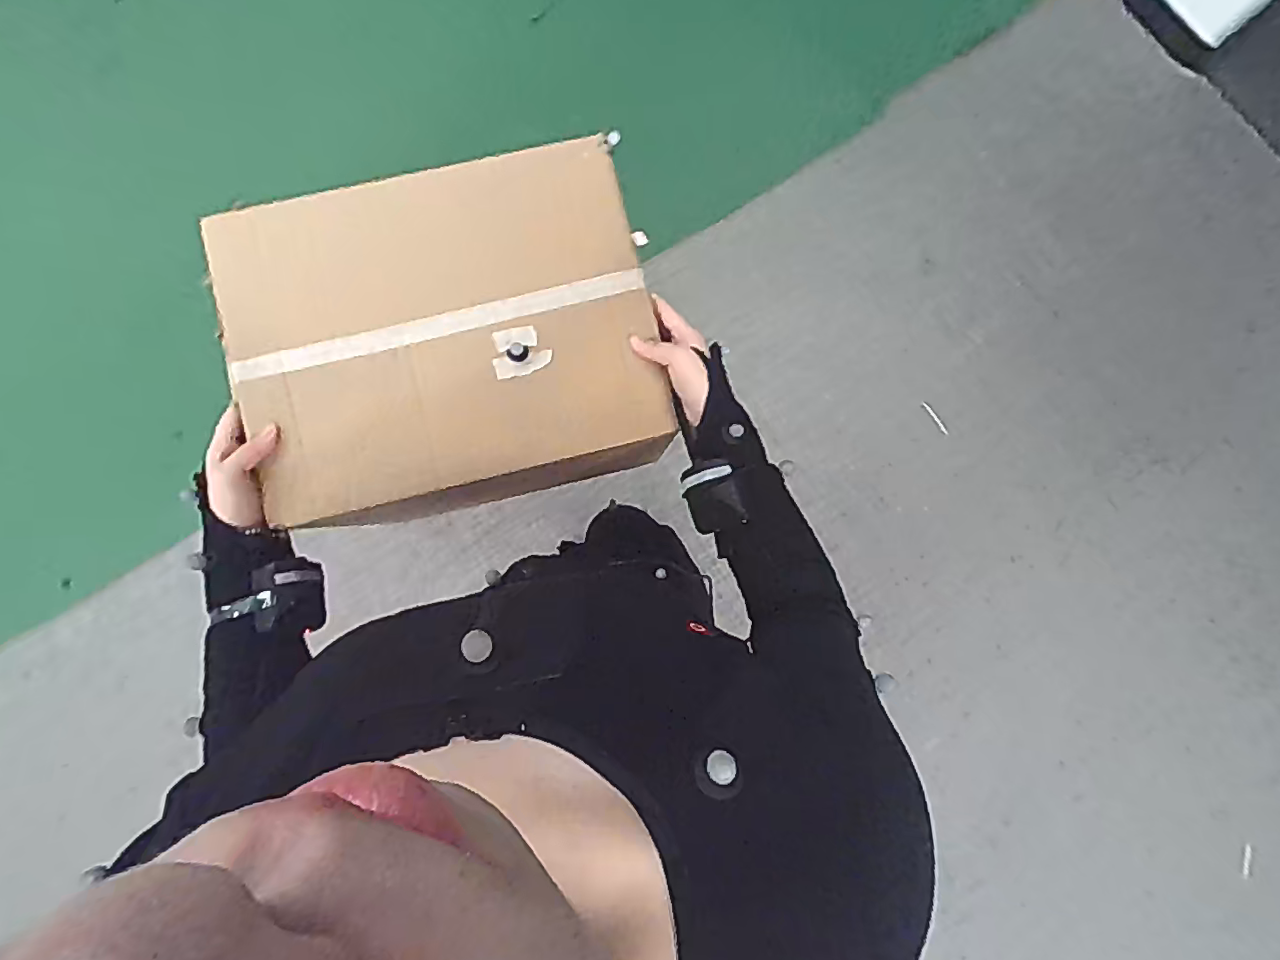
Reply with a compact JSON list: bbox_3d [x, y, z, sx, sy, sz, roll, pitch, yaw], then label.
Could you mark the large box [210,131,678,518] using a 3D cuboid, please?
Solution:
[{"bbox_3d":[-0.201,-0.151,0.681,0.408,0.320,0.320,-15,88,-5],"label":"large box"}]
